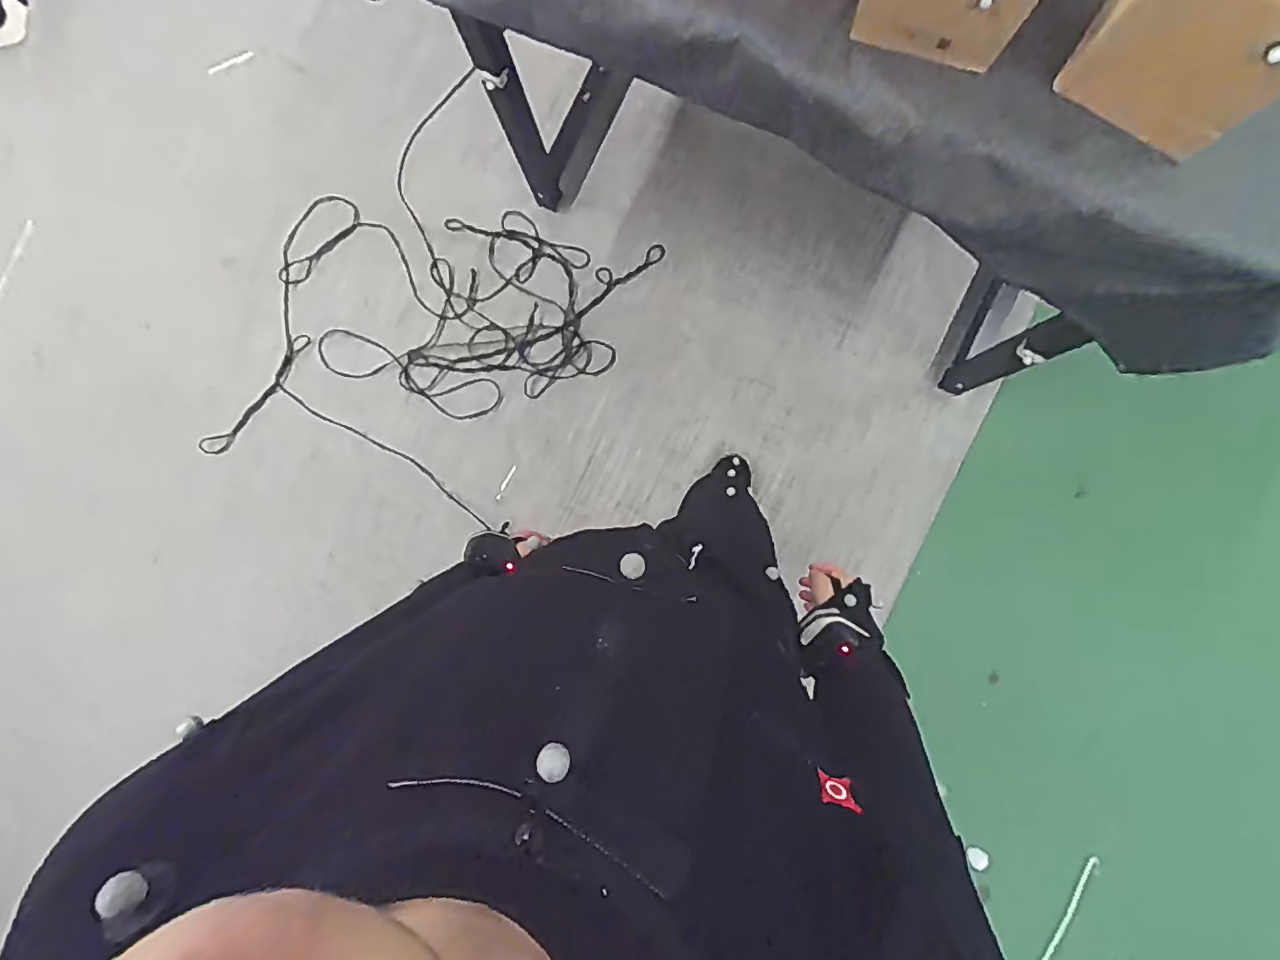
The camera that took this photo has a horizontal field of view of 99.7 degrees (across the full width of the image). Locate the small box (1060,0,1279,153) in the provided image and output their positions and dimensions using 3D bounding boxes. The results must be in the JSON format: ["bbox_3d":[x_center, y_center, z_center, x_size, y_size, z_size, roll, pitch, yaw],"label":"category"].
[{"bbox_3d":[0.588,-0.479,0.545,0.179,0.176,0.168,34,89,4],"label":"small box"}]

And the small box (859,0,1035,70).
[{"bbox_3d":[0.351,-0.584,0.563,0.168,0.176,0.179,19,87,3],"label":"small box"}]
